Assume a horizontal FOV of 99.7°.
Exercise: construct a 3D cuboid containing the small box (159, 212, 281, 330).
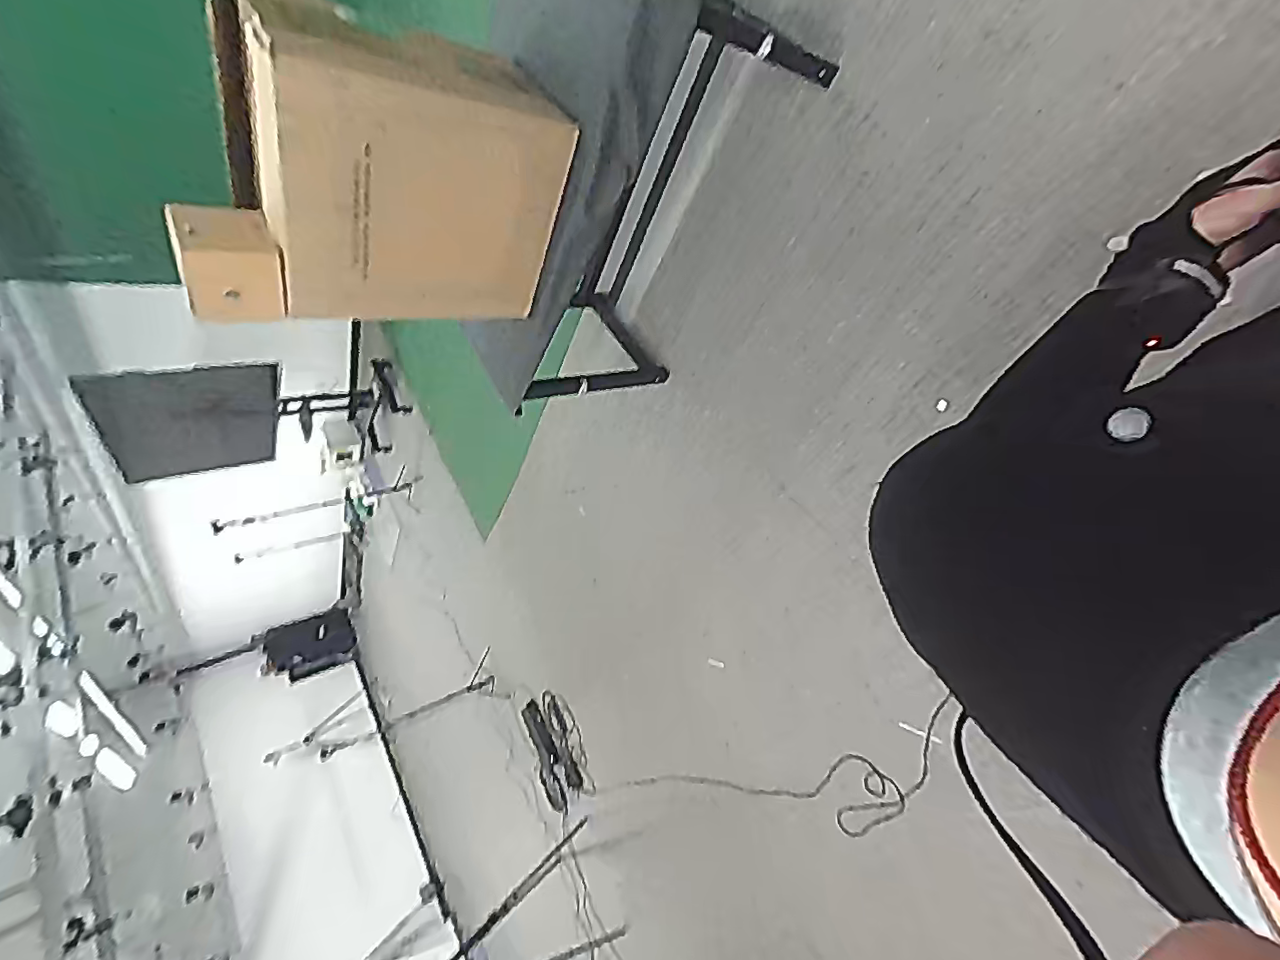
[{"bbox_3d":[-0.897,-0.451,1.170,0.168,0.176,0.179,53,139,23],"label":"small box"}]
